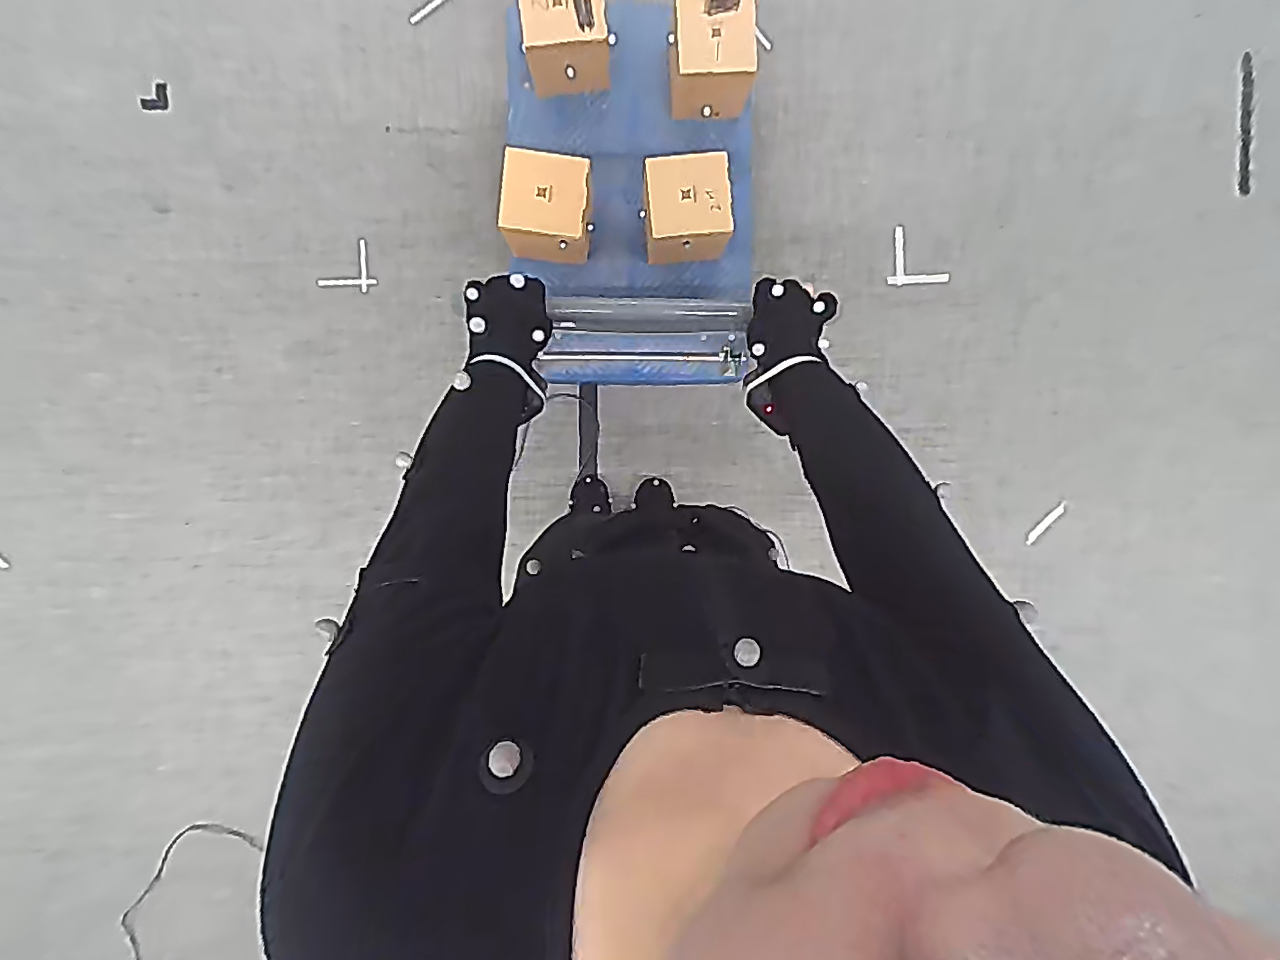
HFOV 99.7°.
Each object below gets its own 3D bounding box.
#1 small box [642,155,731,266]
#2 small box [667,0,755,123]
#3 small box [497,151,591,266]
[{"bbox_3d":[0.098,-0.593,1.208,0.179,0.176,0.168,-6,93,-2],"label":"small box"},{"bbox_3d":[0.151,-0.928,1.193,0.168,0.176,0.179,-3,94,-2],"label":"small box"},{"bbox_3d":[-0.206,-0.590,1.198,0.179,0.176,0.168,6,92,-4],"label":"small box"}]
